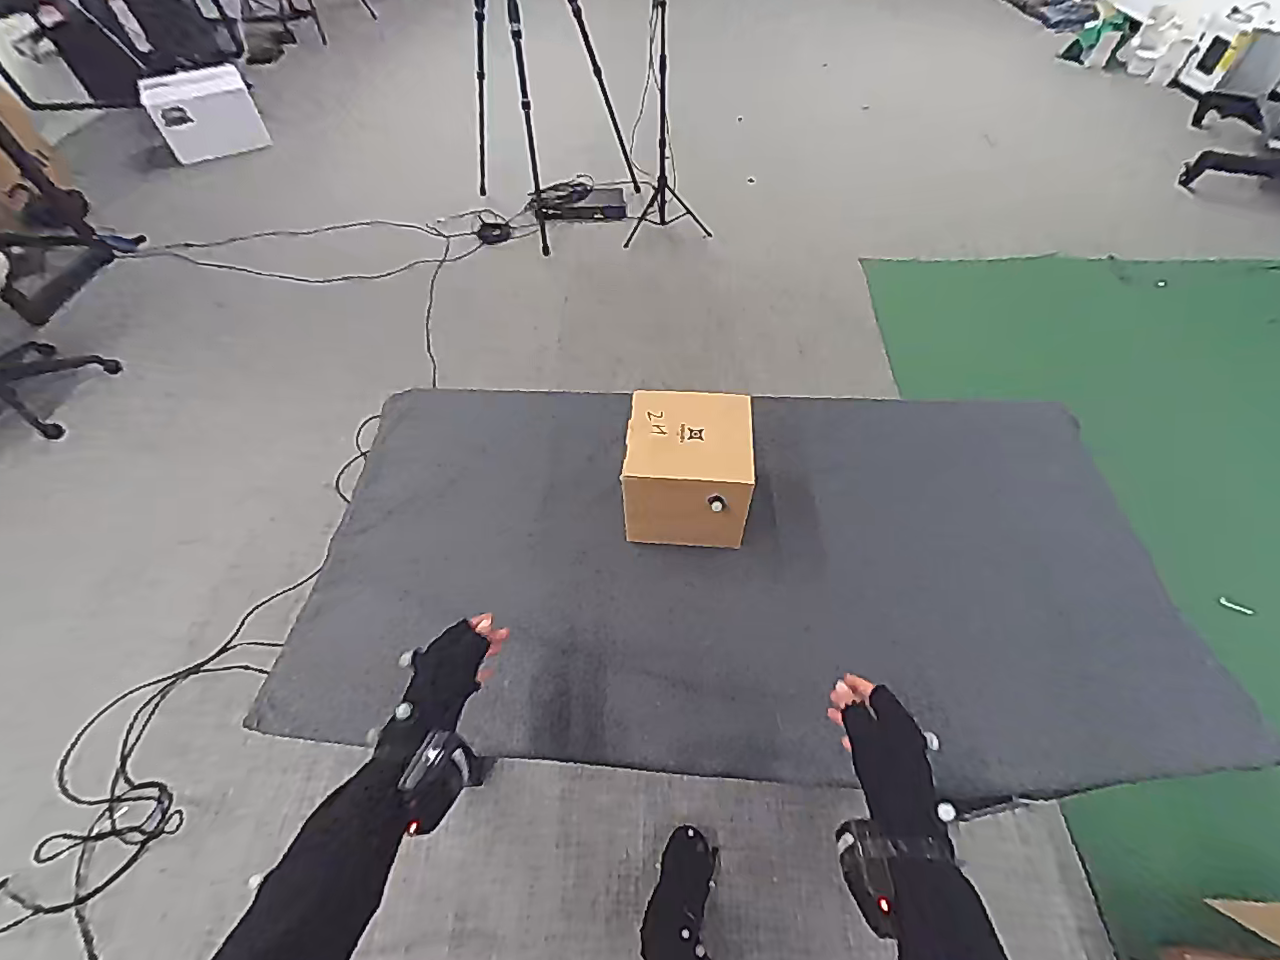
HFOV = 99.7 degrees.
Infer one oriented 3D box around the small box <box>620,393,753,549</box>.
[{"bbox_3d":[0.068,-0.010,0.813,0.179,0.176,0.168,4,52,4],"label":"small box"}]
